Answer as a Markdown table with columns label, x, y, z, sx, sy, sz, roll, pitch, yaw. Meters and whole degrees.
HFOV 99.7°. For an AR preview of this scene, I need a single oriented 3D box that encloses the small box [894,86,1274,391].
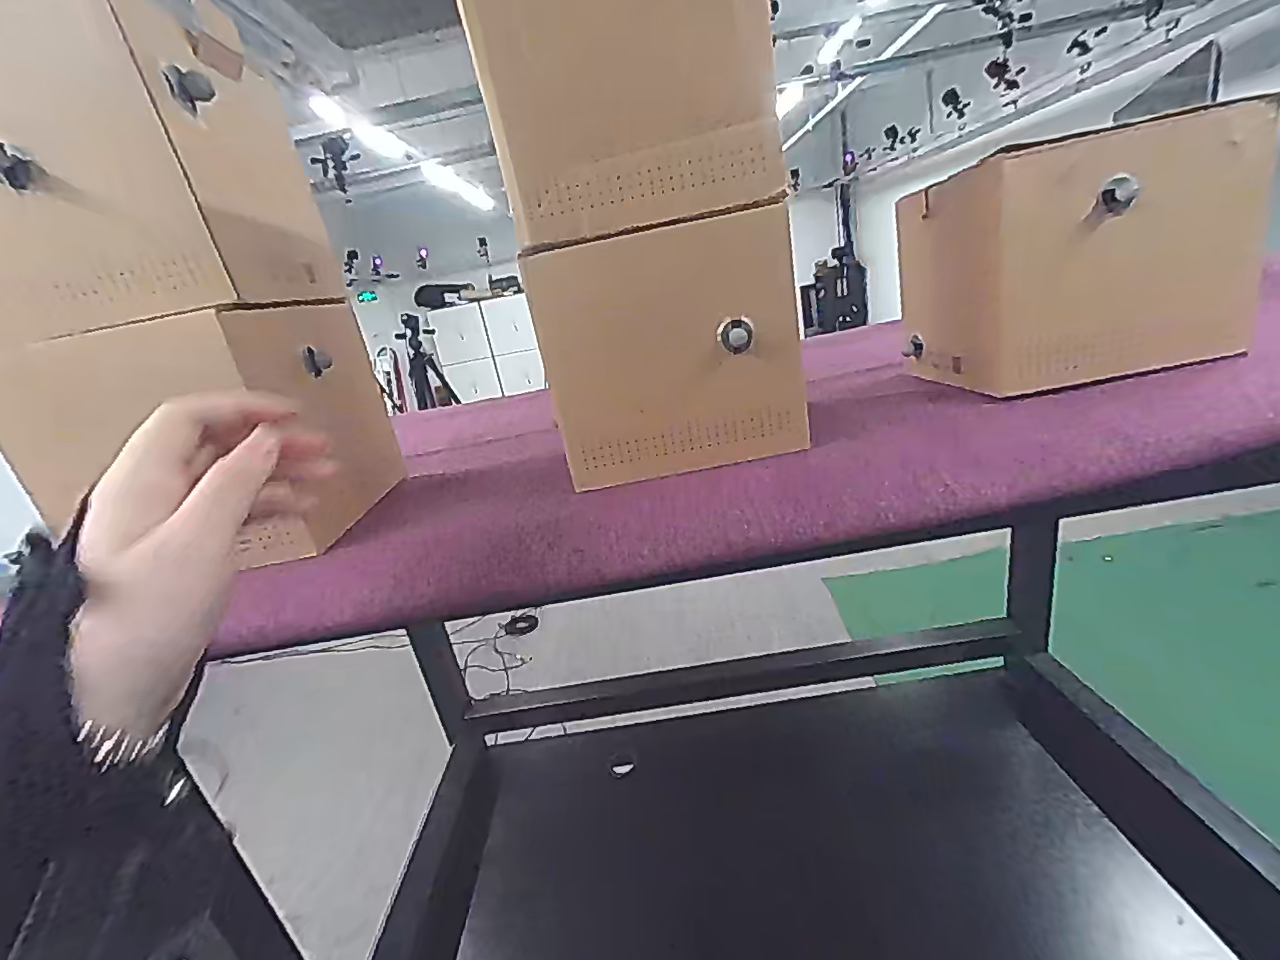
| label | x | y | z | sx | sy | sz | roll | pitch | yaw |
| --- | --- | --- | --- | --- | --- | --- | --- | --- | --- |
| small box | 0.333 | -0.176 | 0.441 | 0.179 | 0.176 | 0.168 | -10 | 18 | 5 |

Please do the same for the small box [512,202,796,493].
| label | x | y | z | sx | sy | sz | roll | pitch | yaw |
| --- | --- | --- | --- | --- | --- | --- | --- | --- | --- |
| small box | 0.017 | -0.105 | 0.434 | 0.179 | 0.176 | 0.168 | -12 | 19 | 2 |

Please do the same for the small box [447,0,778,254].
| label | x | y | z | sx | sy | sz | roll | pitch | yaw |
| --- | --- | --- | --- | --- | --- | --- | --- | --- | --- |
| small box | -0.016 | -0.256 | 0.384 | 0.179 | 0.176 | 0.168 | -11 | 19 | 0 |

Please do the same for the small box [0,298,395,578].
| label | x | y | z | sx | sy | sz | roll | pitch | yaw |
| --- | --- | --- | --- | --- | --- | --- | --- | --- | --- |
| small box | -0.318 | -0.036 | 0.420 | 0.168 | 0.176 | 0.179 | -10 | 20 | 1 |
